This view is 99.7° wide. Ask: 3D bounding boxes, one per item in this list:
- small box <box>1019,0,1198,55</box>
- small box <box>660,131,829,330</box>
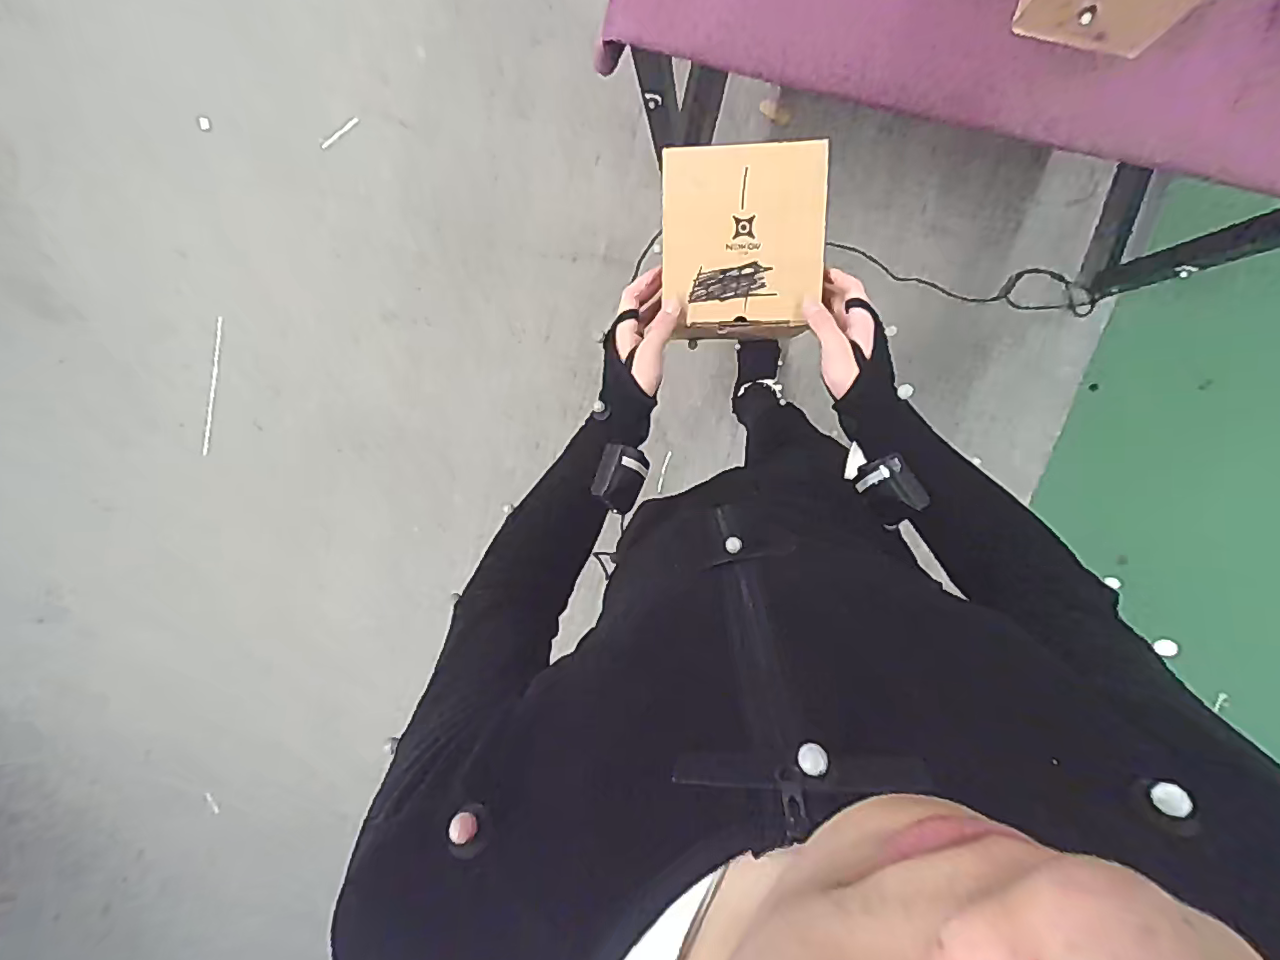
[{"bbox_3d":[0.589,-0.654,0.628,0.168,0.176,0.179,18,99,5],"label":"small box"},{"bbox_3d":[0.113,-0.270,0.627,0.168,0.176,0.179,1,99,6],"label":"small box"}]
